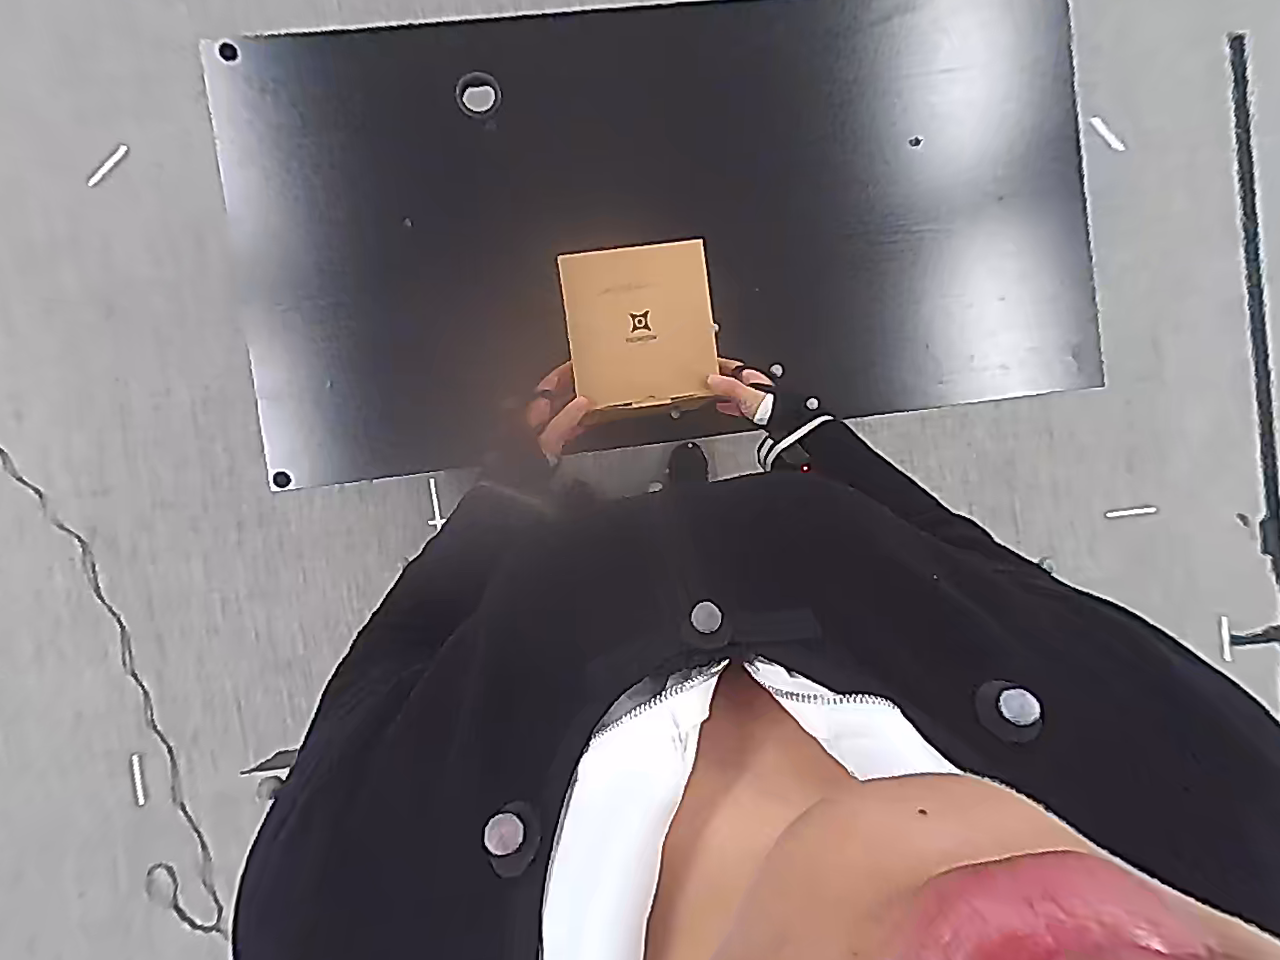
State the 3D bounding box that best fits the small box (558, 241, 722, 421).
[{"bbox_3d":[-0.003,-0.171,0.677,0.168,0.176,0.179,-9,92,-4],"label":"small box"}]
